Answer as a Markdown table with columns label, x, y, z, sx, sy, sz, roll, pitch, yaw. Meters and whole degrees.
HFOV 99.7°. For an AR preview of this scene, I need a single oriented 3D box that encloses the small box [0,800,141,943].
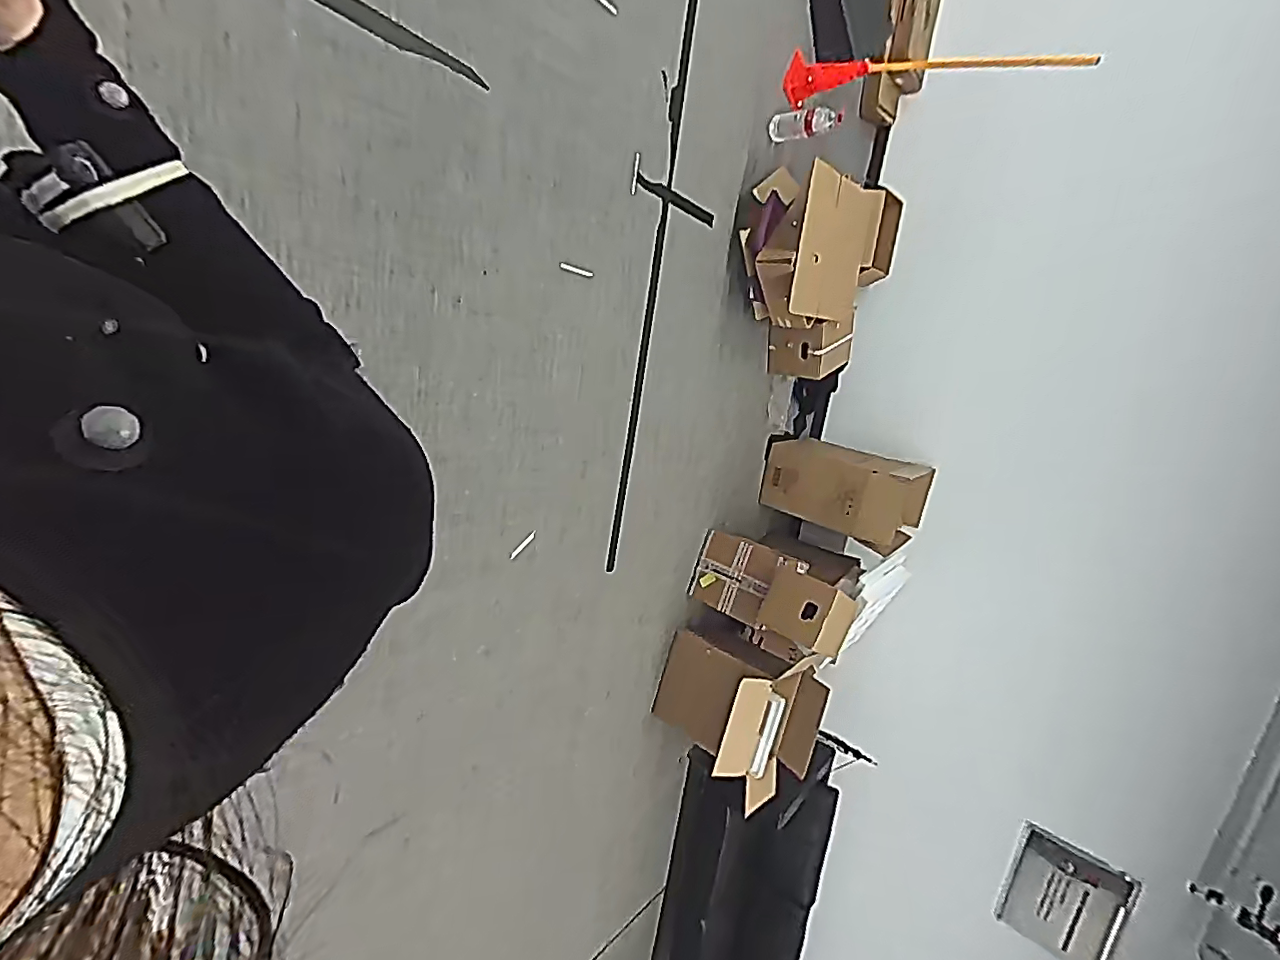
| label | x | y | z | sx | sy | sz | roll | pitch | yaw |
| --- | --- | --- | --- | --- | --- | --- | --- | --- | --- |
| small box | -0.743 | 0.553 | 0.673 | 0.168 | 0.176 | 0.179 | -7 | 110 | -50 |

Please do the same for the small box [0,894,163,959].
| label | x | y | z | sx | sy | sz | roll | pitch | yaw |
| --- | --- | --- | --- | --- | --- | --- | --- | --- | --- |
| small box | -0.622 | 0.593 | 0.571 | 0.168 | 0.176 | 0.179 | -6 | 110 | -50 |
